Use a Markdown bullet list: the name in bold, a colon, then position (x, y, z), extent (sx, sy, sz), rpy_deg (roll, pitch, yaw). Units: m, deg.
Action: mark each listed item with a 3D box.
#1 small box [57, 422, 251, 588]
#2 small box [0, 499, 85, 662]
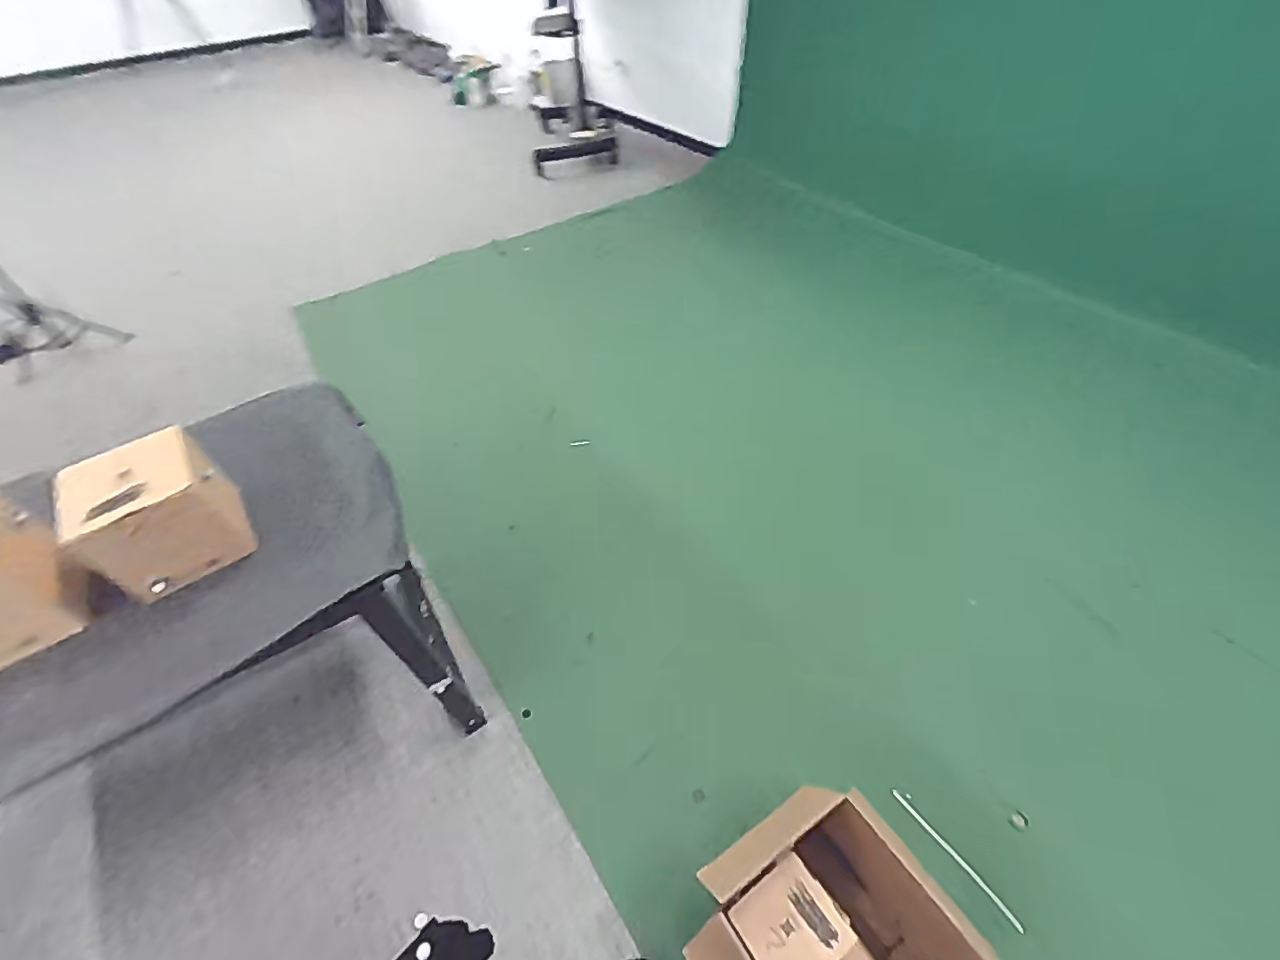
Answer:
- **small box**: position (-0.761, 0.047, 0.861), extent (0.168, 0.176, 0.179), rpy_deg (-31, 54, -22)
- **small box**: position (-0.959, 0.156, 0.779), extent (0.168, 0.176, 0.179), rpy_deg (-31, 54, -22)
